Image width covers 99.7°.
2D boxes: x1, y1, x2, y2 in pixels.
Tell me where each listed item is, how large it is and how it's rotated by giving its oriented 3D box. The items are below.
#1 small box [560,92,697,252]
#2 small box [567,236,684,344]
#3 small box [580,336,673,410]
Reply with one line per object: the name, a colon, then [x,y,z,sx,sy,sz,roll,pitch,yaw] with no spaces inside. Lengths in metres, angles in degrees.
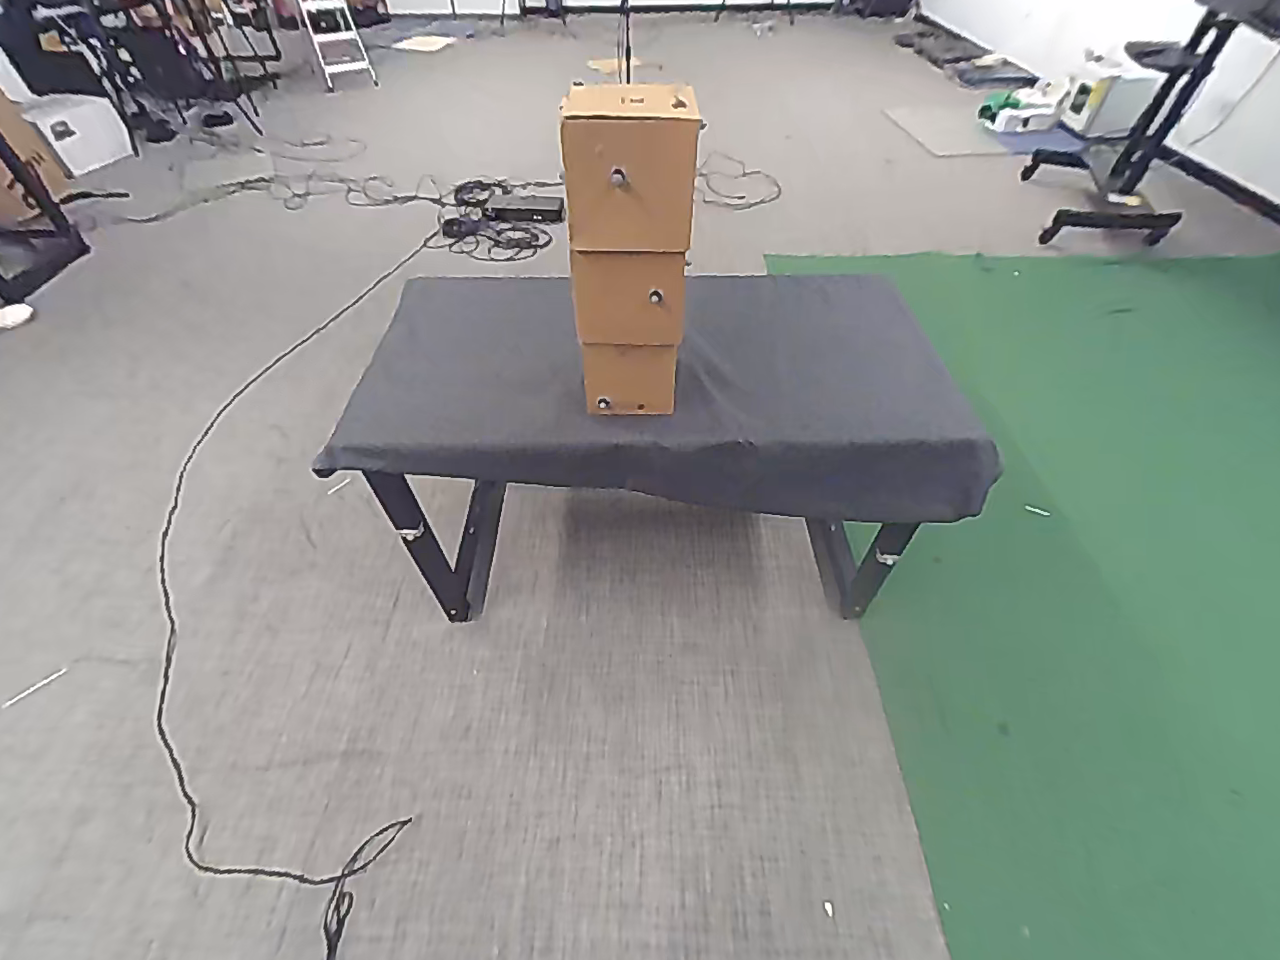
small box: [-0.016,-0.446,0.787,0.179,0.176,0.168,-1,46,-2]
small box: [-0.018,-0.344,0.912,0.179,0.176,0.168,1,47,3]
small box: [-0.023,-0.247,1.043,0.168,0.176,0.179,-2,50,-1]
